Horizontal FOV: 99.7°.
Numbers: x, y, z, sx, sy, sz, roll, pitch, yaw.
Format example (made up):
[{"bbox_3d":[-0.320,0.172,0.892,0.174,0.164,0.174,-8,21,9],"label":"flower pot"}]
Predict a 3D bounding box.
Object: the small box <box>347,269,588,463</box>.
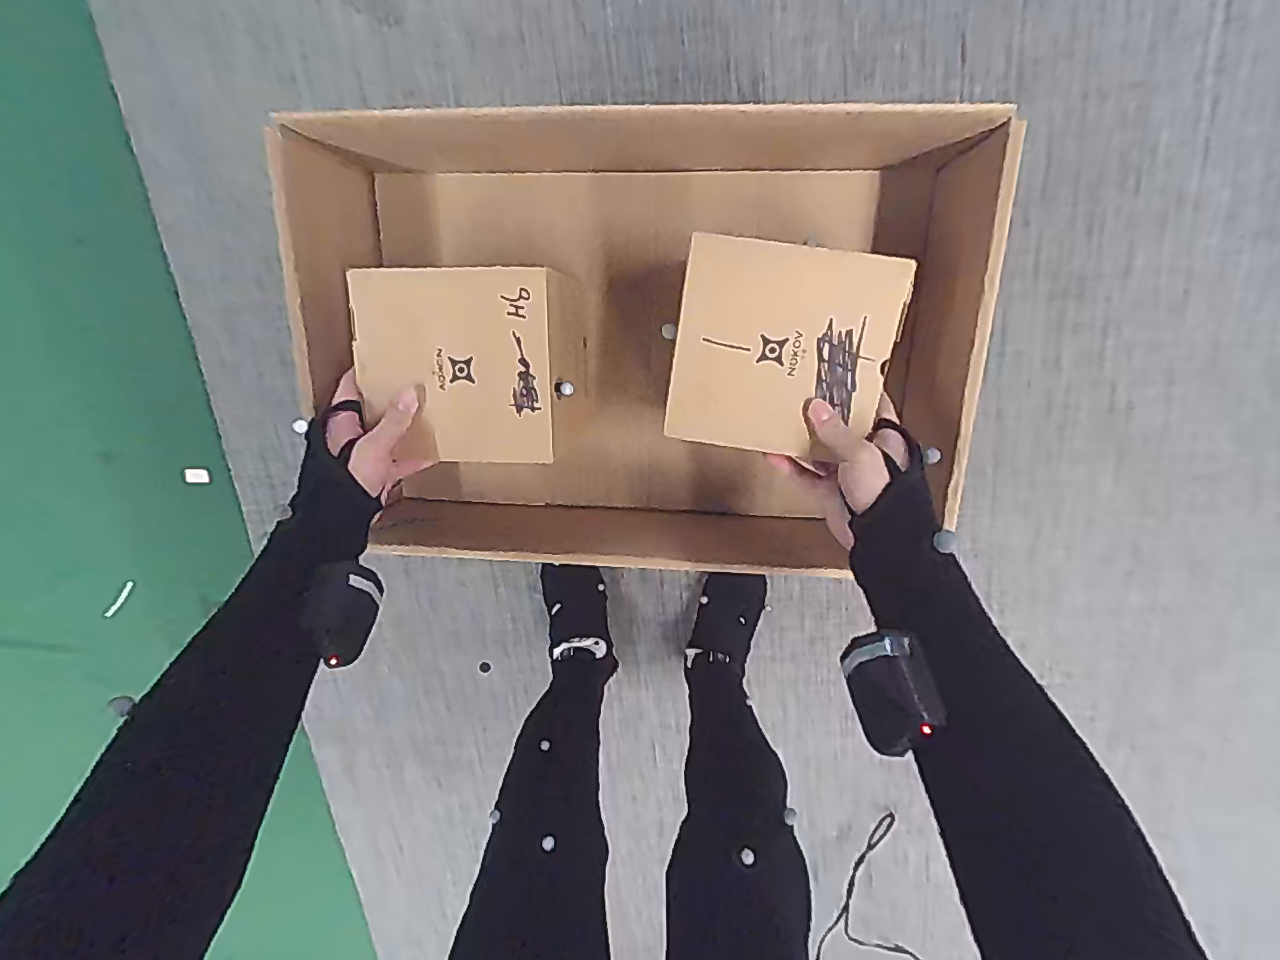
[{"bbox_3d":[-0.157,-0.116,0.549,0.179,0.176,0.168,2,105,7],"label":"small box"}]
